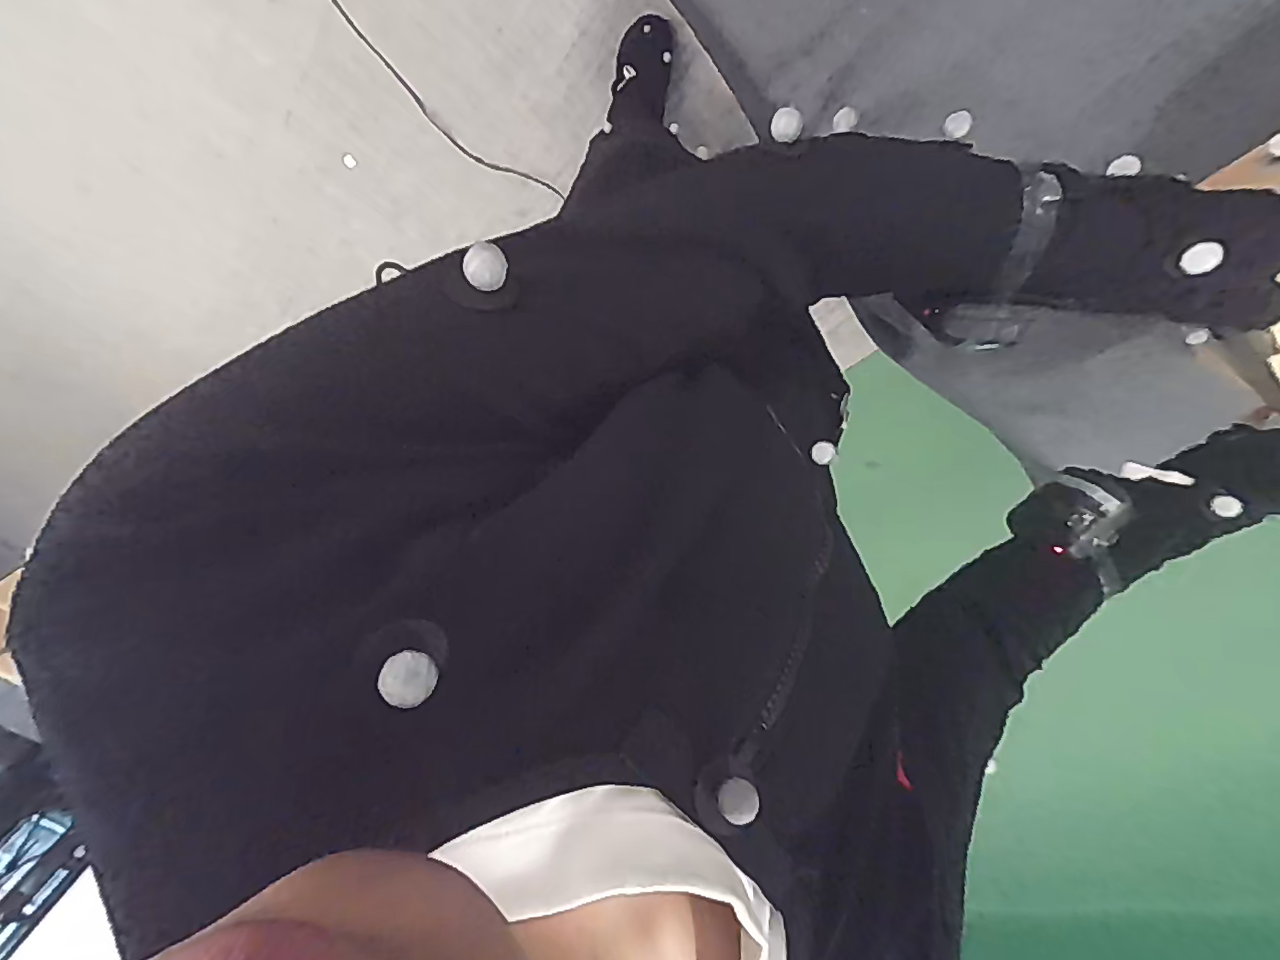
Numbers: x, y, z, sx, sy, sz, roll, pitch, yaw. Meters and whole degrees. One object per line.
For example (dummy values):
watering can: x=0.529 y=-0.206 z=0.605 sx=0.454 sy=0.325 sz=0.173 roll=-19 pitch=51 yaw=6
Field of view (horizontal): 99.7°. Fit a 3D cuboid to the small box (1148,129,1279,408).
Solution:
small box: x=0.527 y=-0.168 z=0.393 sx=0.168 sy=0.176 sz=0.179 roll=42 pitch=127 yaw=-17
